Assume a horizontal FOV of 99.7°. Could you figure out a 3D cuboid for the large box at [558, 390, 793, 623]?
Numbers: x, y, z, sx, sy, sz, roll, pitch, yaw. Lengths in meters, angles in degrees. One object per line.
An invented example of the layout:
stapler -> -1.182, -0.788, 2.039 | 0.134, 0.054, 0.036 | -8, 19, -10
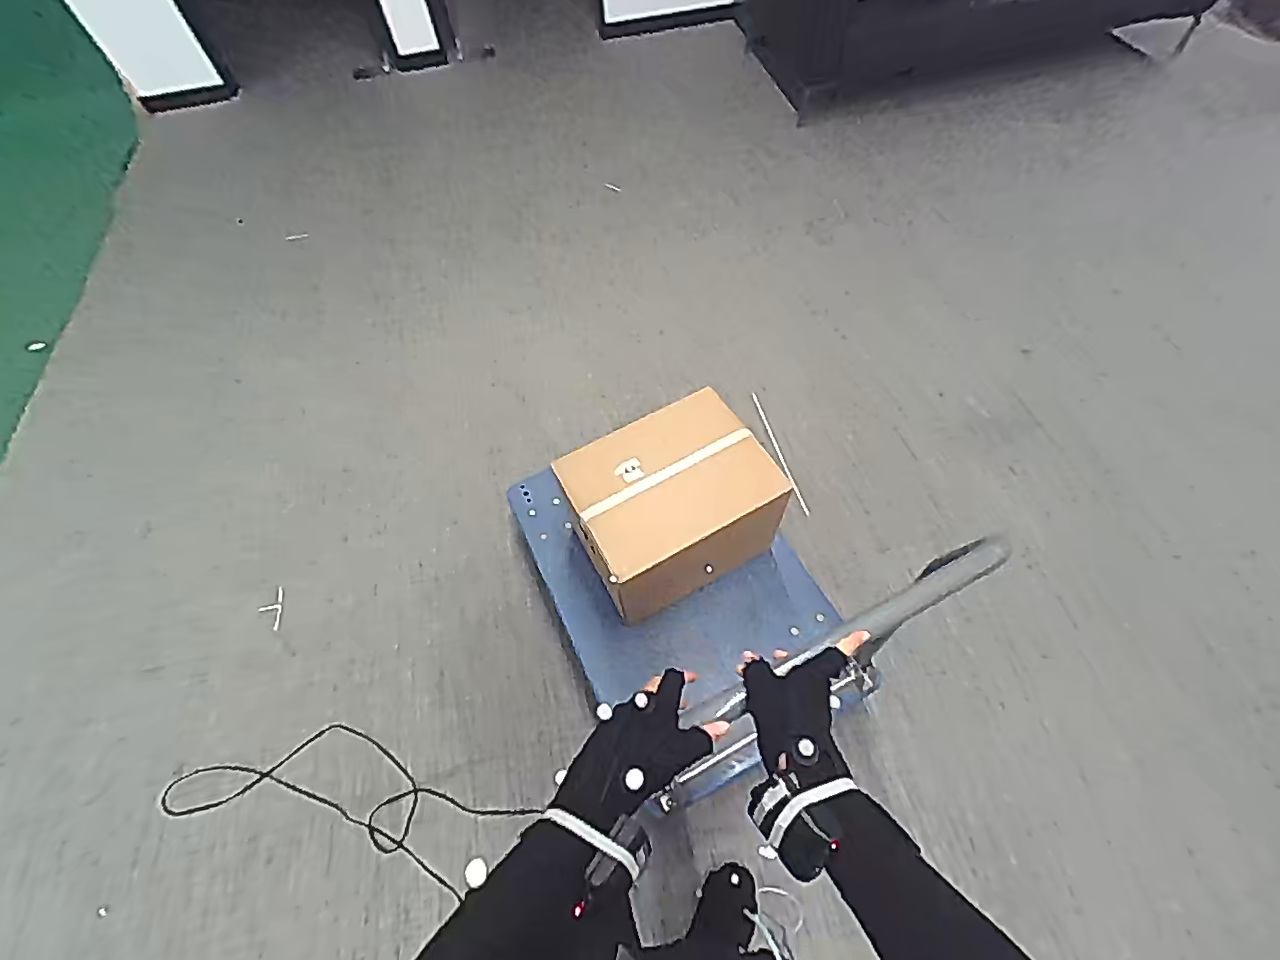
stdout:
large box -> 0.078, 0.067, 1.252 | 0.408, 0.320, 0.320 | -28, 61, -12
